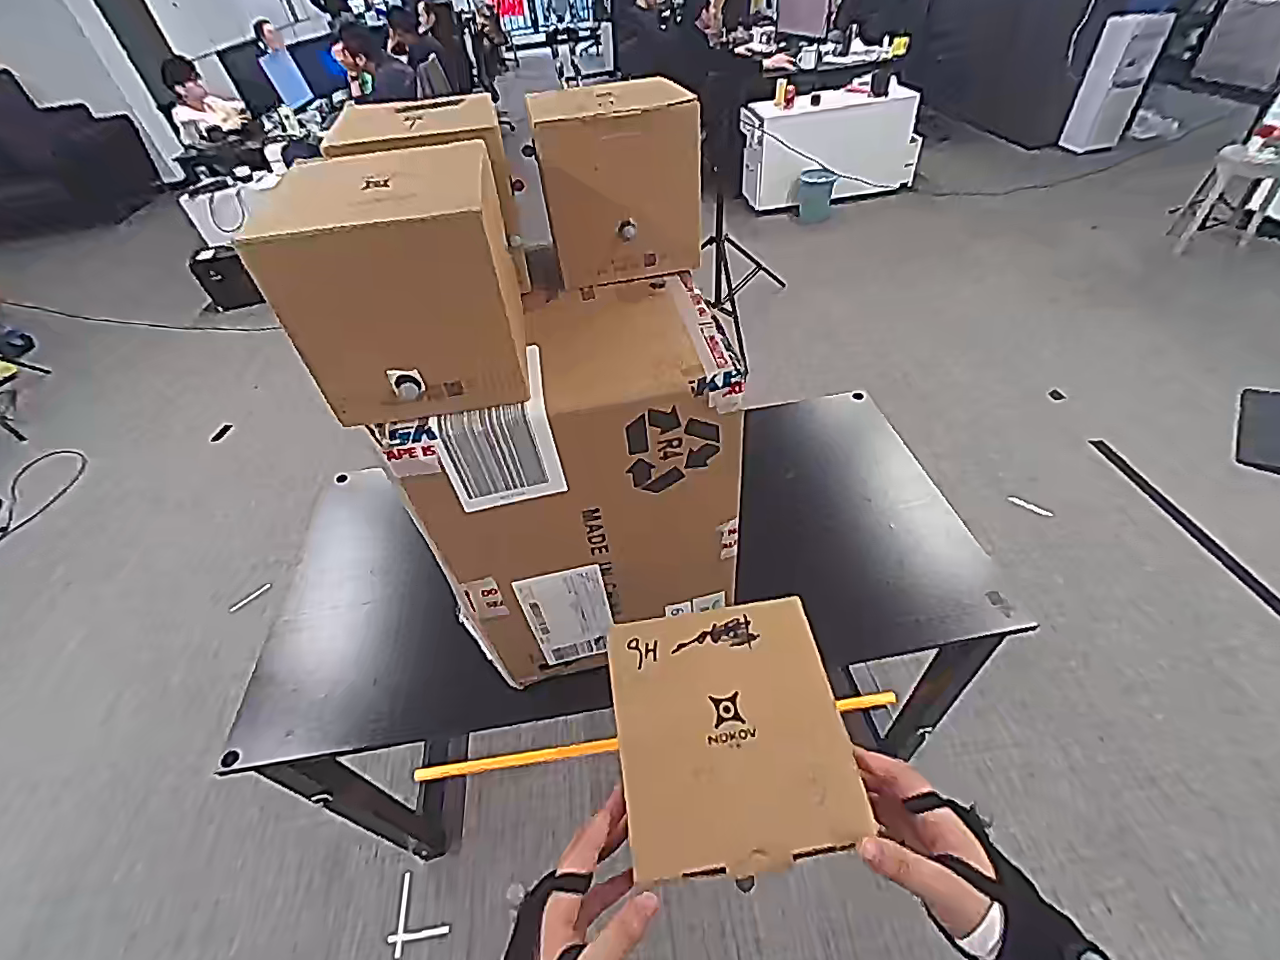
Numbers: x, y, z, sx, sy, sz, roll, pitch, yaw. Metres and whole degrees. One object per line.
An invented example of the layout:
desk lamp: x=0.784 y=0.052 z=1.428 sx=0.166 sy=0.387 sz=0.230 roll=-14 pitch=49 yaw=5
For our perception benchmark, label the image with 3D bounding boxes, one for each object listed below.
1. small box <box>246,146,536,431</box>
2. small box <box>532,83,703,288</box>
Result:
small box: x=-0.192 y=-0.169 z=0.478 sx=0.168 sy=0.176 sz=0.179 roll=-11 pitch=47 yaw=-5
small box: x=-0.028 y=-0.347 z=0.637 sx=0.168 sy=0.176 sz=0.179 roll=-11 pitch=44 yaw=-4
